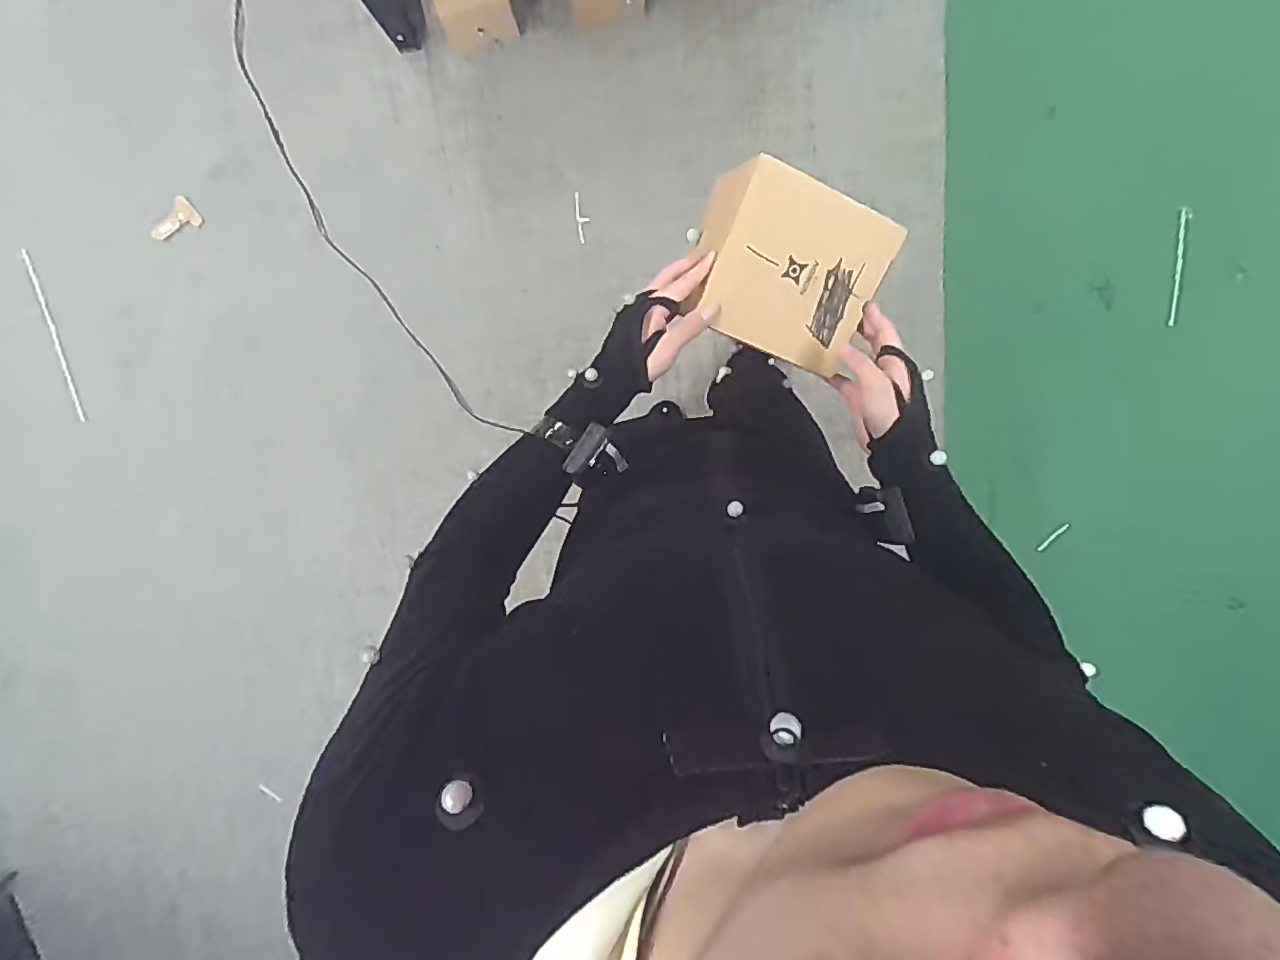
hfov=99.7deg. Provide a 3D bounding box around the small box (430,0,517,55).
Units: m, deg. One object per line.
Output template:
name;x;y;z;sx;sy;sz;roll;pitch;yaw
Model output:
small box;-0.407;-1.158;1.285;0.168;0.176;0.179;-16;101;3
